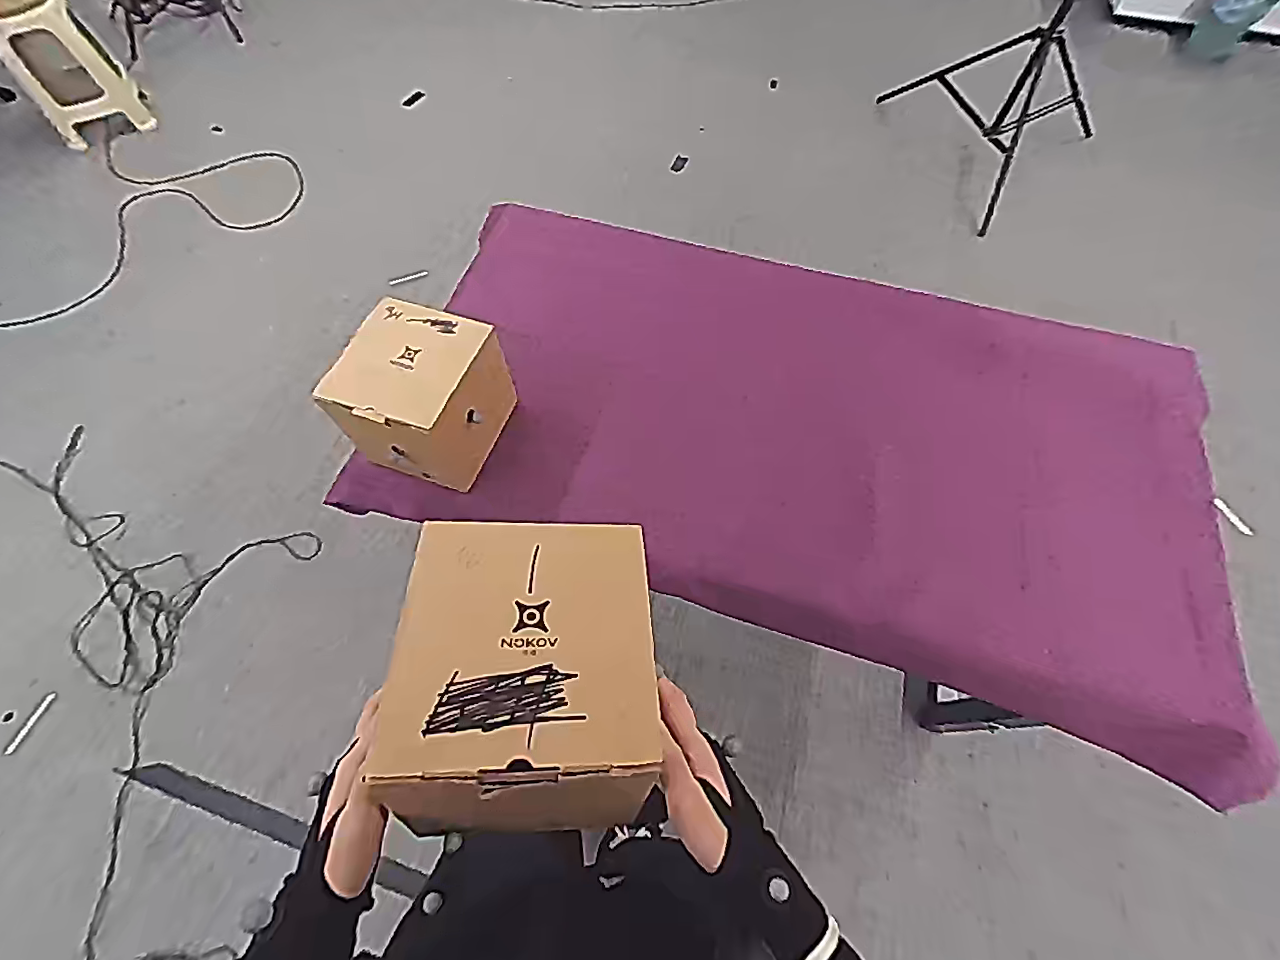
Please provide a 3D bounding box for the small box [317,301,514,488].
[{"bbox_3d":[-0.294,-0.111,0.757,0.168,0.176,0.179,17,65,8],"label":"small box"}]

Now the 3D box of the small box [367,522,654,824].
[{"bbox_3d":[-0.085,0.152,0.419,0.168,0.176,0.179,2,47,-8],"label":"small box"}]
